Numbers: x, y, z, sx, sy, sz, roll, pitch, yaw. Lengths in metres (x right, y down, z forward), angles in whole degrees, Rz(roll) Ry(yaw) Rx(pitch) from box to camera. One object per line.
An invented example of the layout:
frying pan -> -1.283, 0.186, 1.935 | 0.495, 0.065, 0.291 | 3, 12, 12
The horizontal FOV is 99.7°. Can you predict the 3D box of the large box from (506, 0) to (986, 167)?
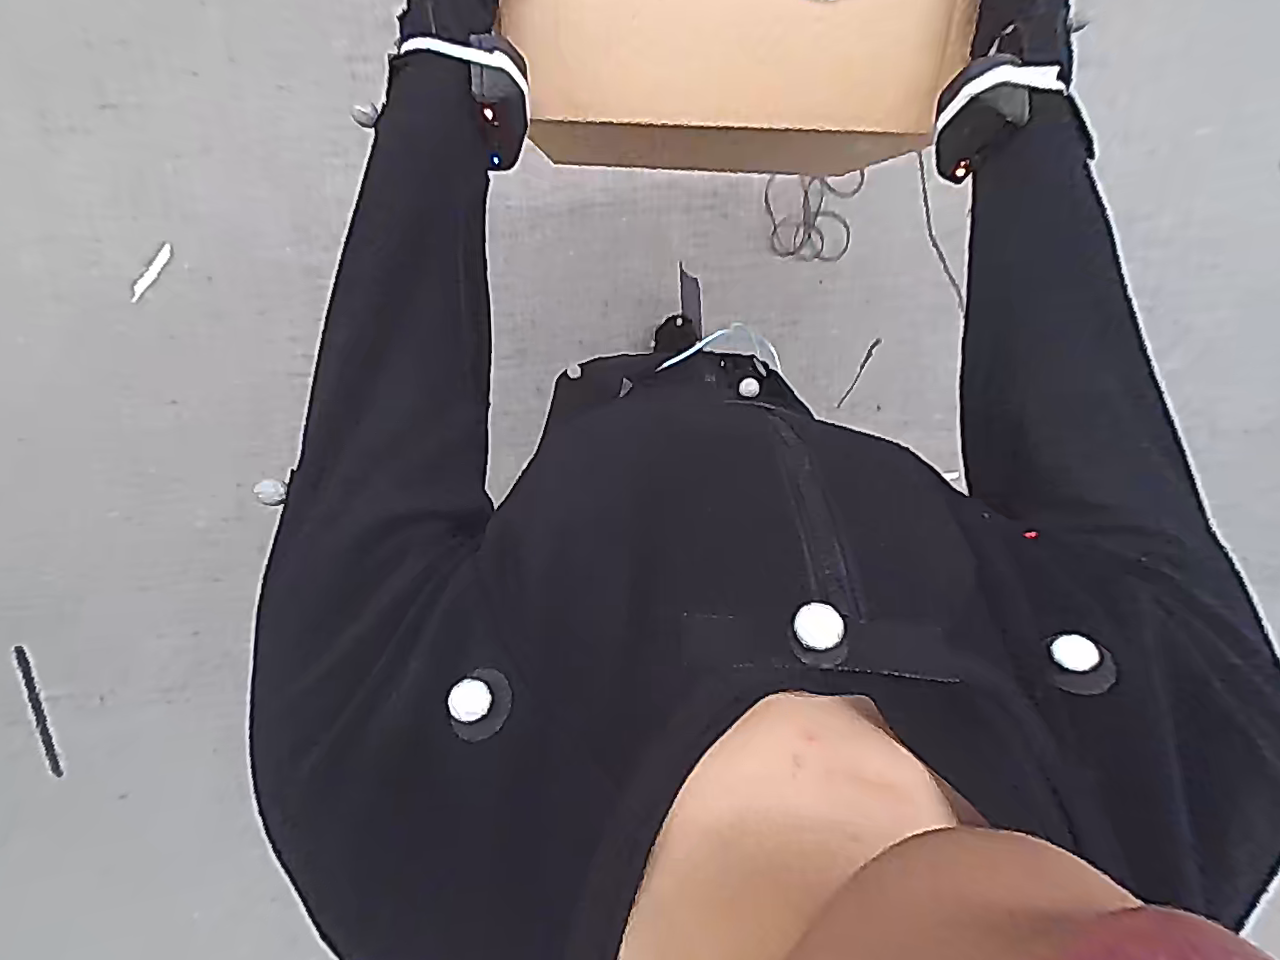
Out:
large box -> 0.085, -0.519, 0.550 | 0.408, 0.320, 0.320 | 1, 114, -2
